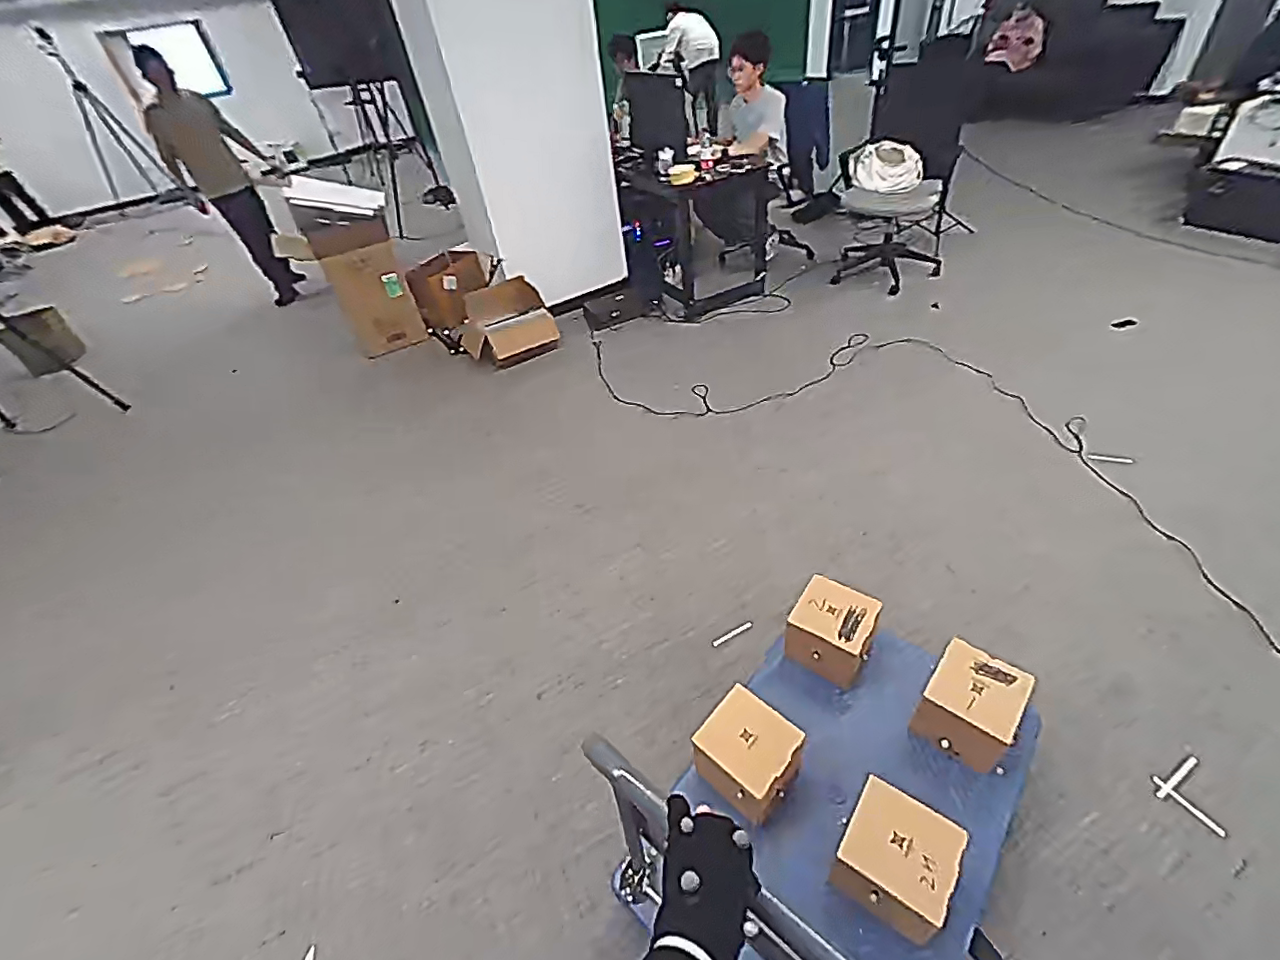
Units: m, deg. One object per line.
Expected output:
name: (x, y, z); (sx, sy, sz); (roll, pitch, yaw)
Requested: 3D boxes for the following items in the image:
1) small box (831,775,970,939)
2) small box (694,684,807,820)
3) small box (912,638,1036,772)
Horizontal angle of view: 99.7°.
small box: (0.471, 0.698, 0.999); (0.179, 0.176, 0.168); (23, 52, 31)
small box: (0.234, 0.589, 1.166); (0.179, 0.176, 0.168); (30, 54, 34)
small box: (0.720, 0.491, 1.180); (0.168, 0.176, 0.179); (27, 55, 34)
